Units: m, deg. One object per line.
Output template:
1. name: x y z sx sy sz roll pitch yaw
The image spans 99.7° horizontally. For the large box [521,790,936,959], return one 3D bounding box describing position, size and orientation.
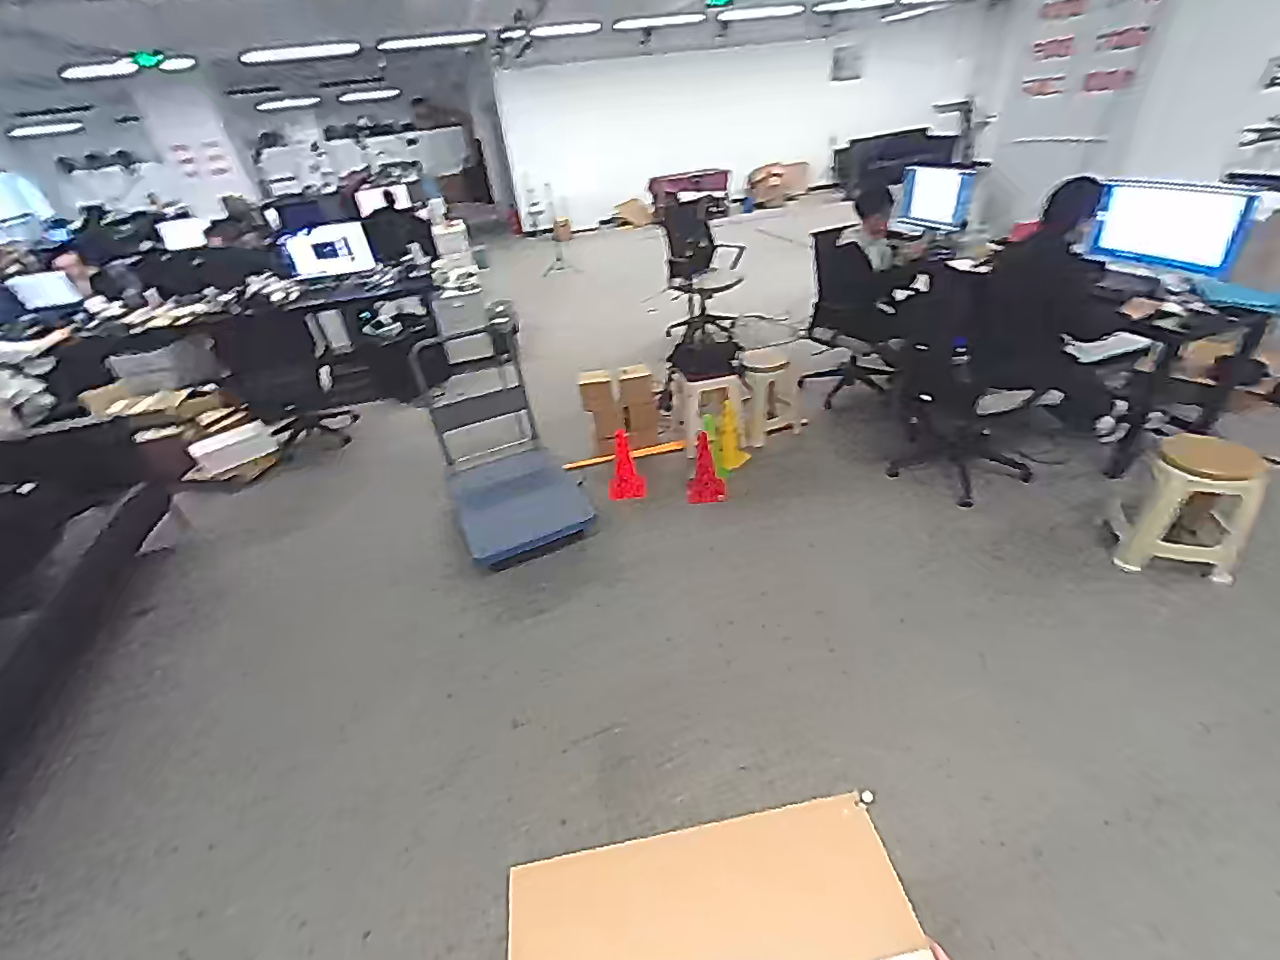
1. large box: 0.097 0.608 0.595 0.408 0.320 0.320 -8 40 -7
